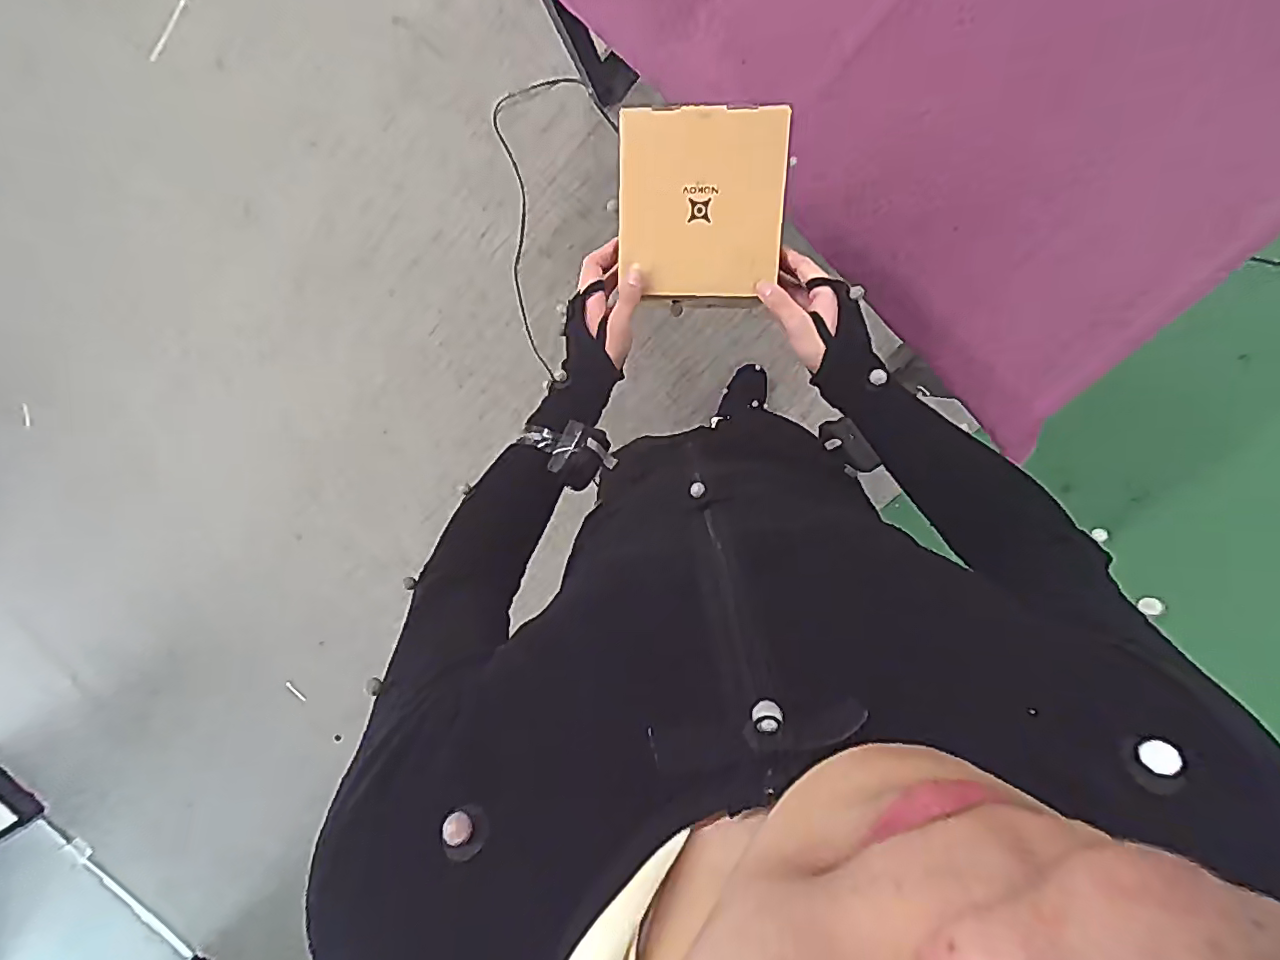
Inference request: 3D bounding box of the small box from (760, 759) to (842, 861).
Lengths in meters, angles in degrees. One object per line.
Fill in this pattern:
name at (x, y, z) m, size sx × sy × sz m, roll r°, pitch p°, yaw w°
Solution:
small box at (0.490, 1.013, 1.673) m, size 0.168 × 0.176 × 0.179 m, roll -43°, pitch 92°, yaw 13°
